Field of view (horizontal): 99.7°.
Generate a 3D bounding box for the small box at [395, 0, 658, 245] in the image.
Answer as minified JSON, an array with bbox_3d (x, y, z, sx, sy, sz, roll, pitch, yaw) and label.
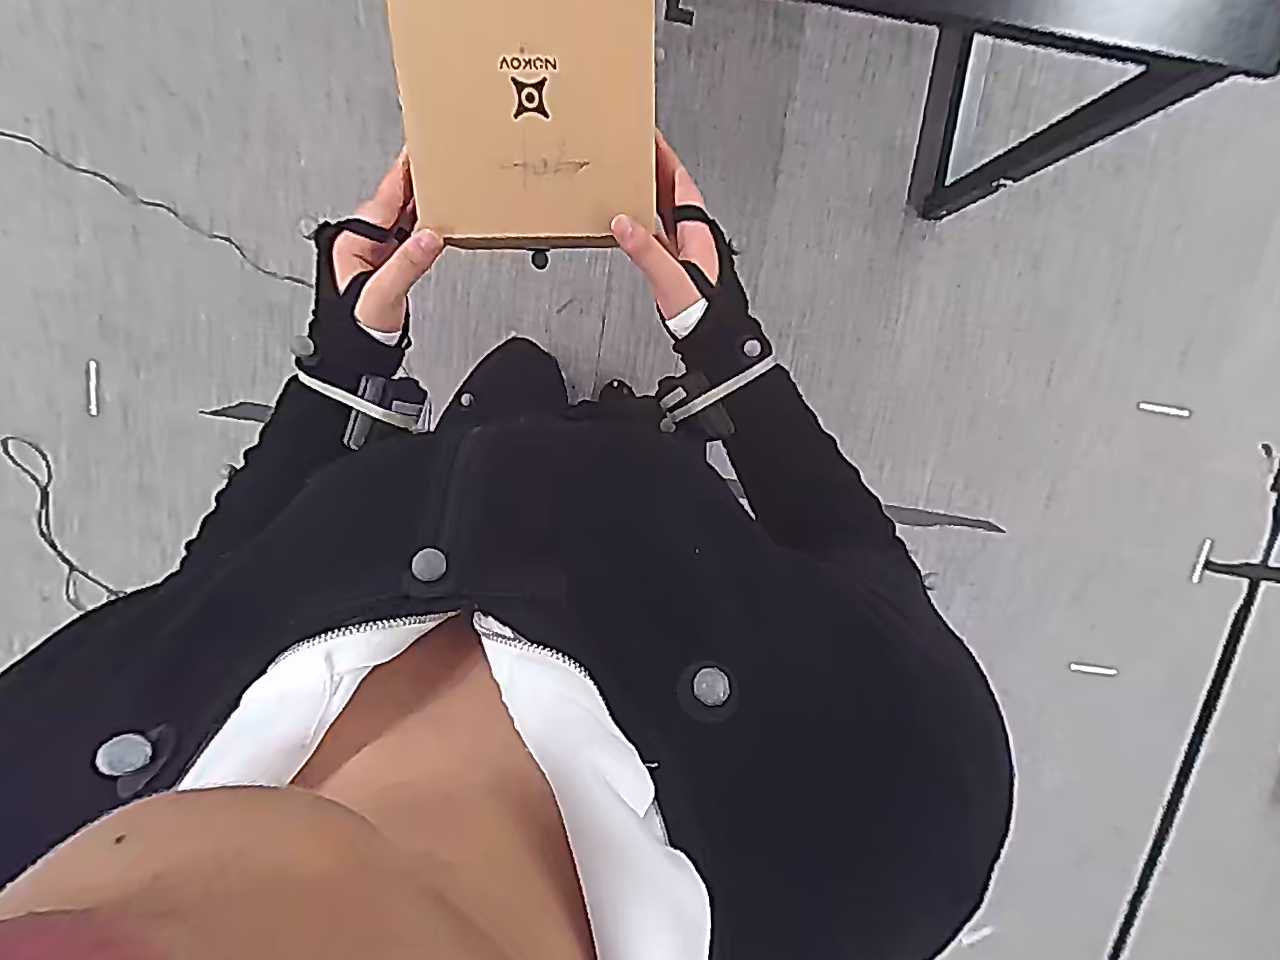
[{"bbox_3d":[-0.077,-0.287,0.426,0.168,0.176,0.179,-3,111,-4],"label":"small box"}]
